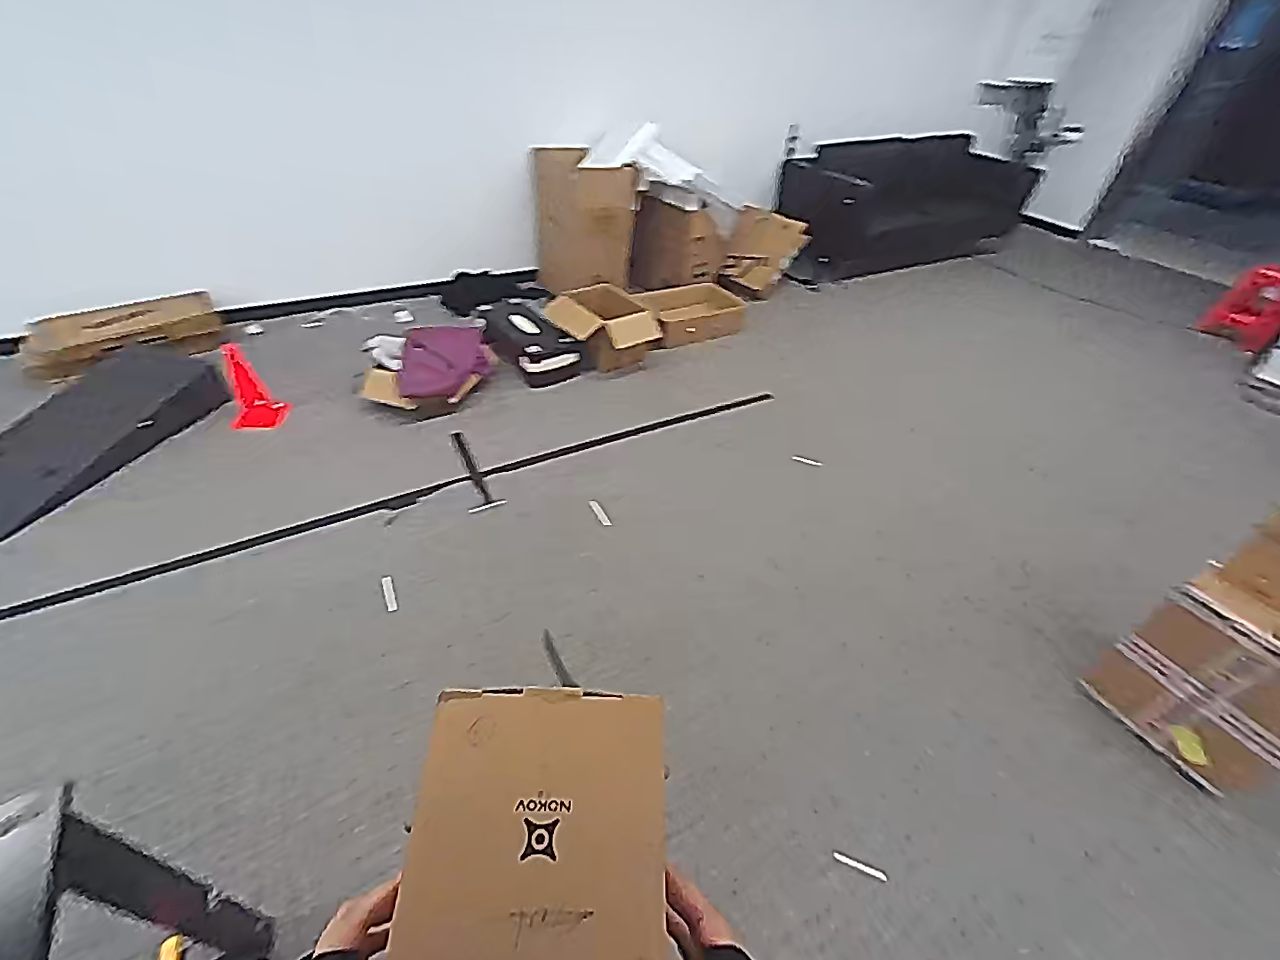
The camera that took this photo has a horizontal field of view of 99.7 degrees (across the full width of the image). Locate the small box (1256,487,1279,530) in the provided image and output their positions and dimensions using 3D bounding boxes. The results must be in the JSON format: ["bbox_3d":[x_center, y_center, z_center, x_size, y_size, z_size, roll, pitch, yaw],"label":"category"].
[{"bbox_3d":[1.633,0.051,1.273,0.179,0.176,0.168,-21,45,-22],"label":"small box"}]

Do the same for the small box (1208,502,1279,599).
[{"bbox_3d":[1.635,0.170,1.387,0.179,0.176,0.168,-21,45,-23],"label":"small box"}]

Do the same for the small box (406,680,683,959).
[{"bbox_3d":[-0.061,0.270,0.424,0.168,0.176,0.179,3,57,-4],"label":"small box"}]
